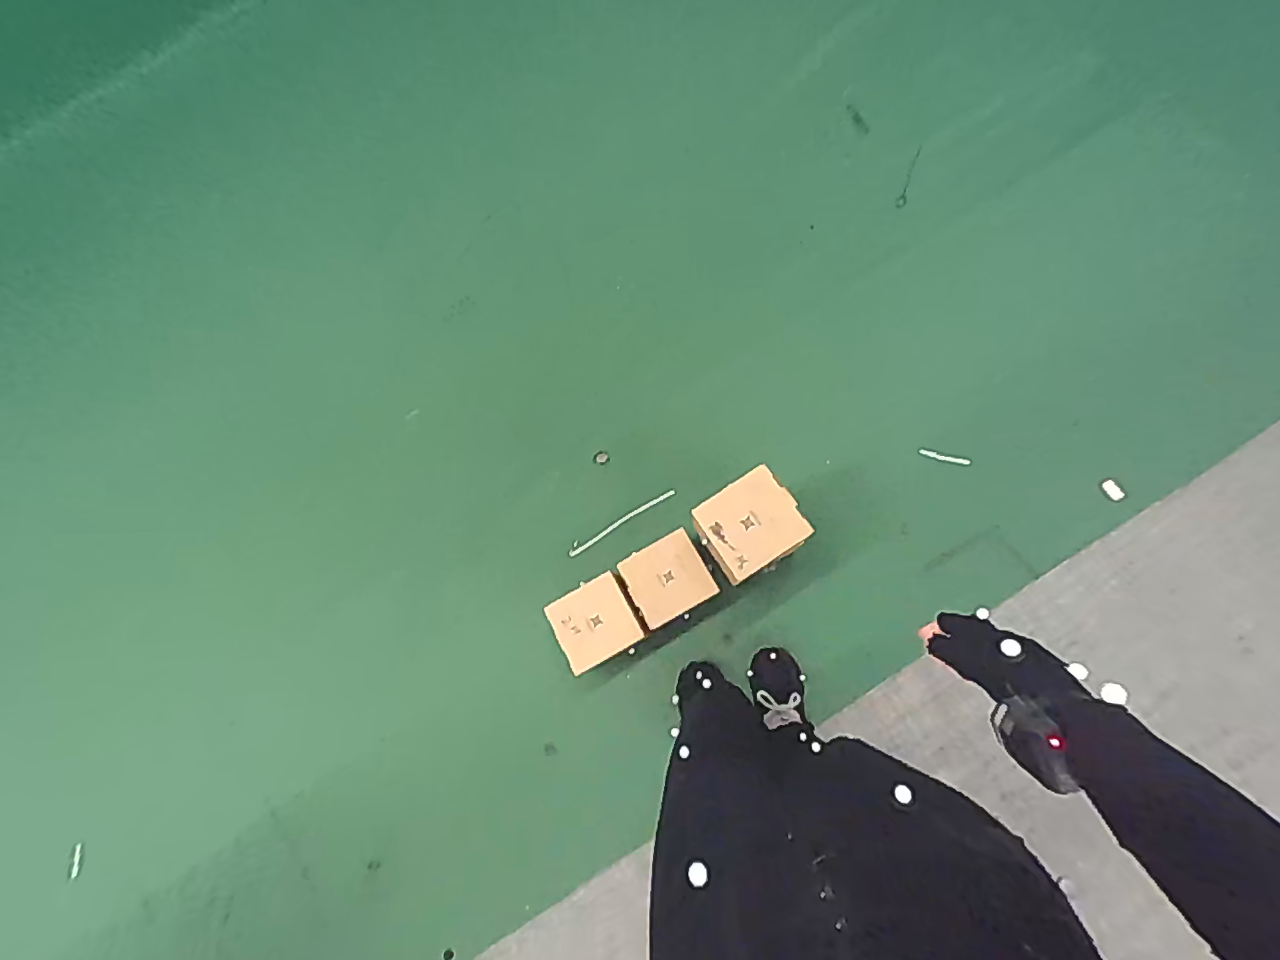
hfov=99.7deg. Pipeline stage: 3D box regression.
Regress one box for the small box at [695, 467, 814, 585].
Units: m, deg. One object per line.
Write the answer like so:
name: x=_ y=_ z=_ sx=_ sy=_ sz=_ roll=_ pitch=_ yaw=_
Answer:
small box: x=0.226 y=0.101 z=1.117 sx=0.179 sy=0.176 sz=0.168 roll=-32 pitch=75 yaw=-2
